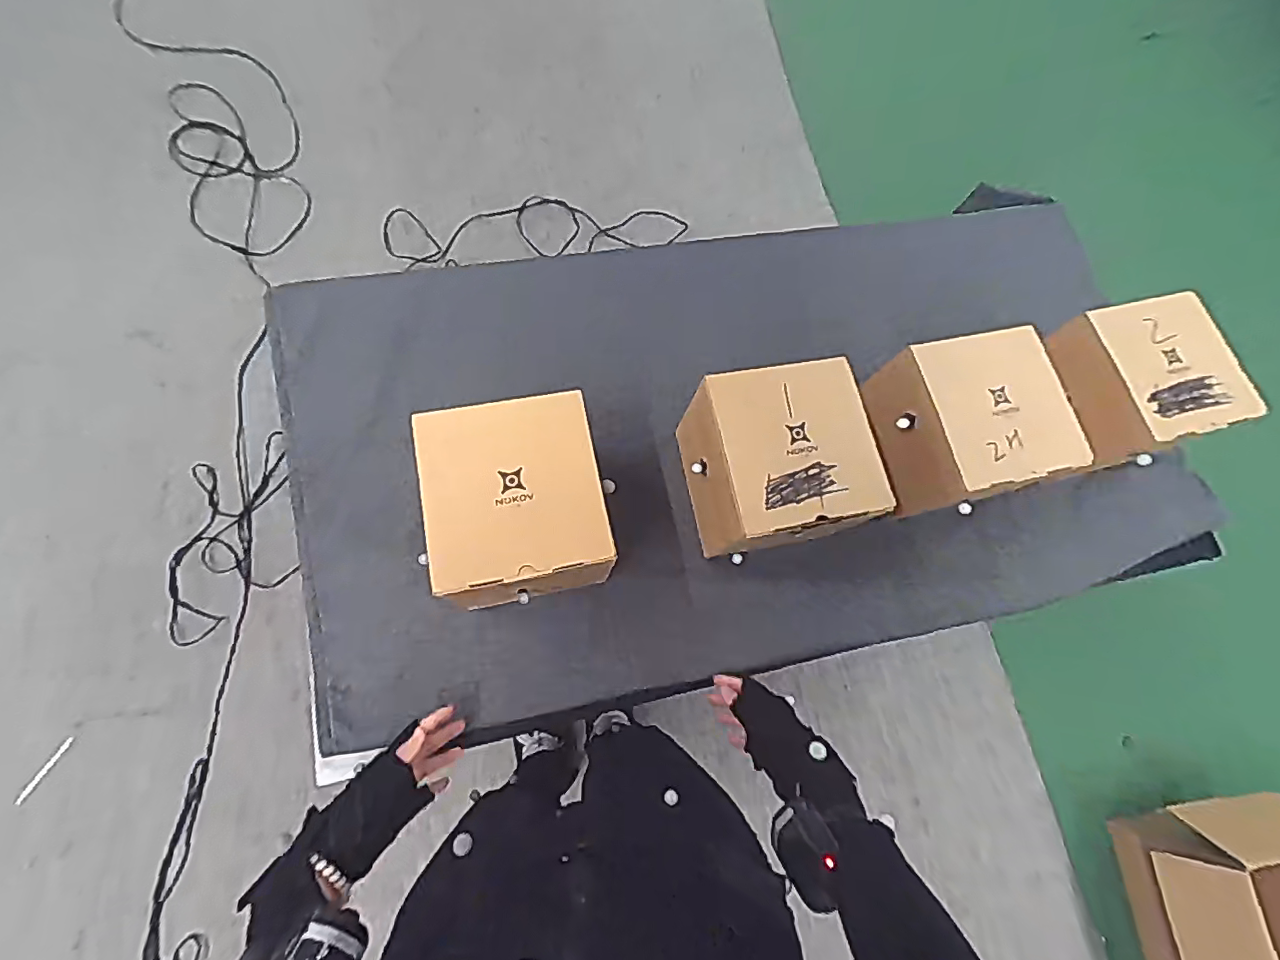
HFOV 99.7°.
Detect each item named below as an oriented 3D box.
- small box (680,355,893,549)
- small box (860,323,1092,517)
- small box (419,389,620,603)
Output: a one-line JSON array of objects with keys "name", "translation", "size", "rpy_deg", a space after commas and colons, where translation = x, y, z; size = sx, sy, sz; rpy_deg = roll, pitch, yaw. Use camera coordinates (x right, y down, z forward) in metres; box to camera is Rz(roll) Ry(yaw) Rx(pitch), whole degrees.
[{"name": "small box", "translation": [0.154, -0.021, 0.632], "size": [0.168, 0.176, 0.179], "rpy_deg": [-9, 75, -10]}, {"name": "small box", "translation": [0.389, -0.067, 0.674], "size": [0.168, 0.176, 0.179], "rpy_deg": [-11, 76, -10]}, {"name": "small box", "translation": [-0.126, 0.025, 0.583], "size": [0.168, 0.176, 0.179], "rpy_deg": [-11, 75, -11]}]
